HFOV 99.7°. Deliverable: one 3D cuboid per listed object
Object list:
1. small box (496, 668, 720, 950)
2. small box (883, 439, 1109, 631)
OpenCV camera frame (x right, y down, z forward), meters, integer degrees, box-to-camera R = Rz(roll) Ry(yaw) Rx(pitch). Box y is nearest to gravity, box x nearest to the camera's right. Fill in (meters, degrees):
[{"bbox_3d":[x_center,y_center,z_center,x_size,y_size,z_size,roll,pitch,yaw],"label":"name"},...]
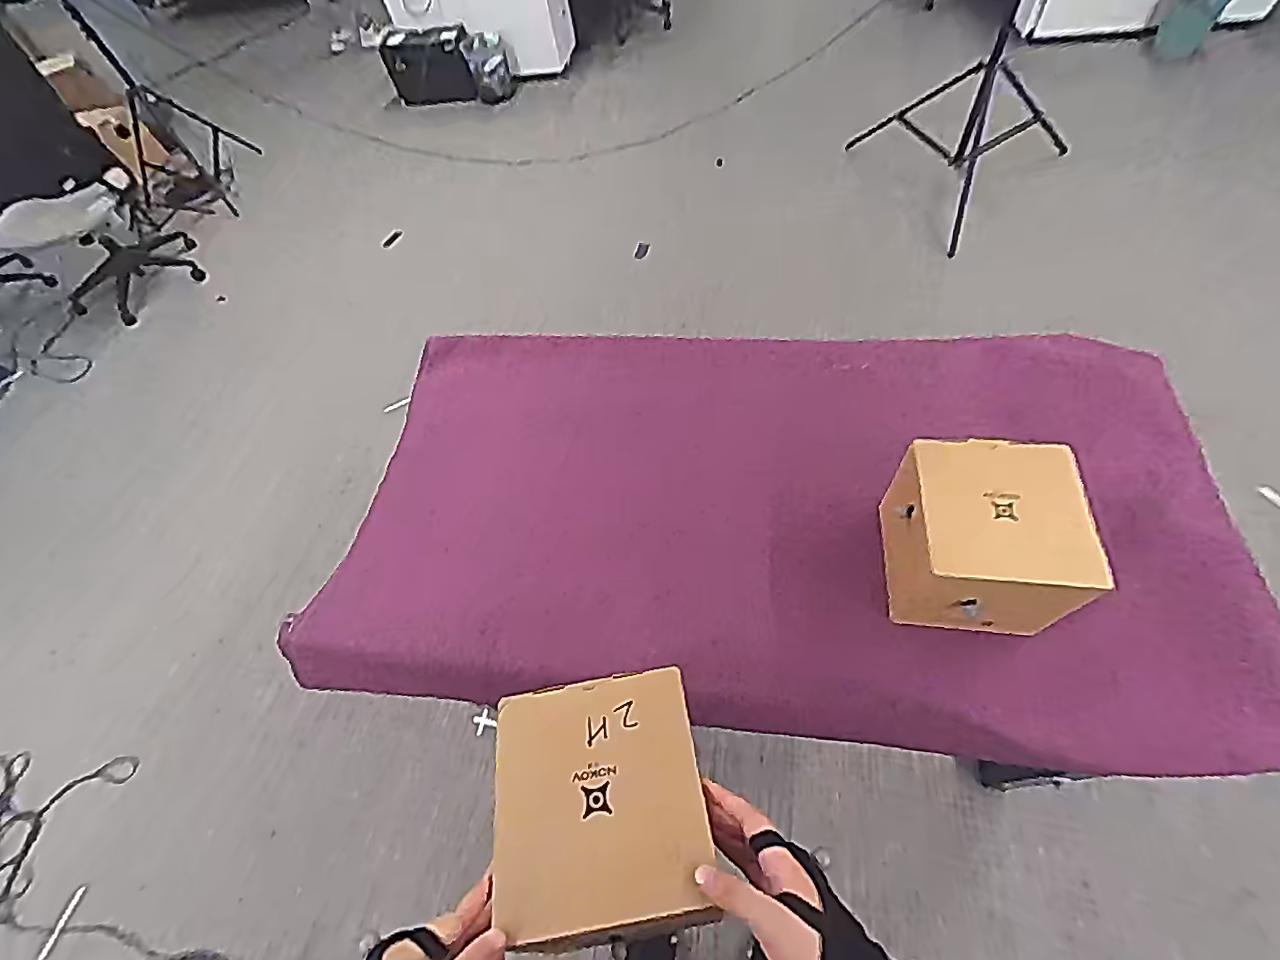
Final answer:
[{"bbox_3d":[-0.024,0.301,0.492,0.168,0.176,0.179,-10,45,-2],"label":"small box"},{"bbox_3d":[0.405,0.071,0.653,0.168,0.176,0.179,3,58,11],"label":"small box"}]
